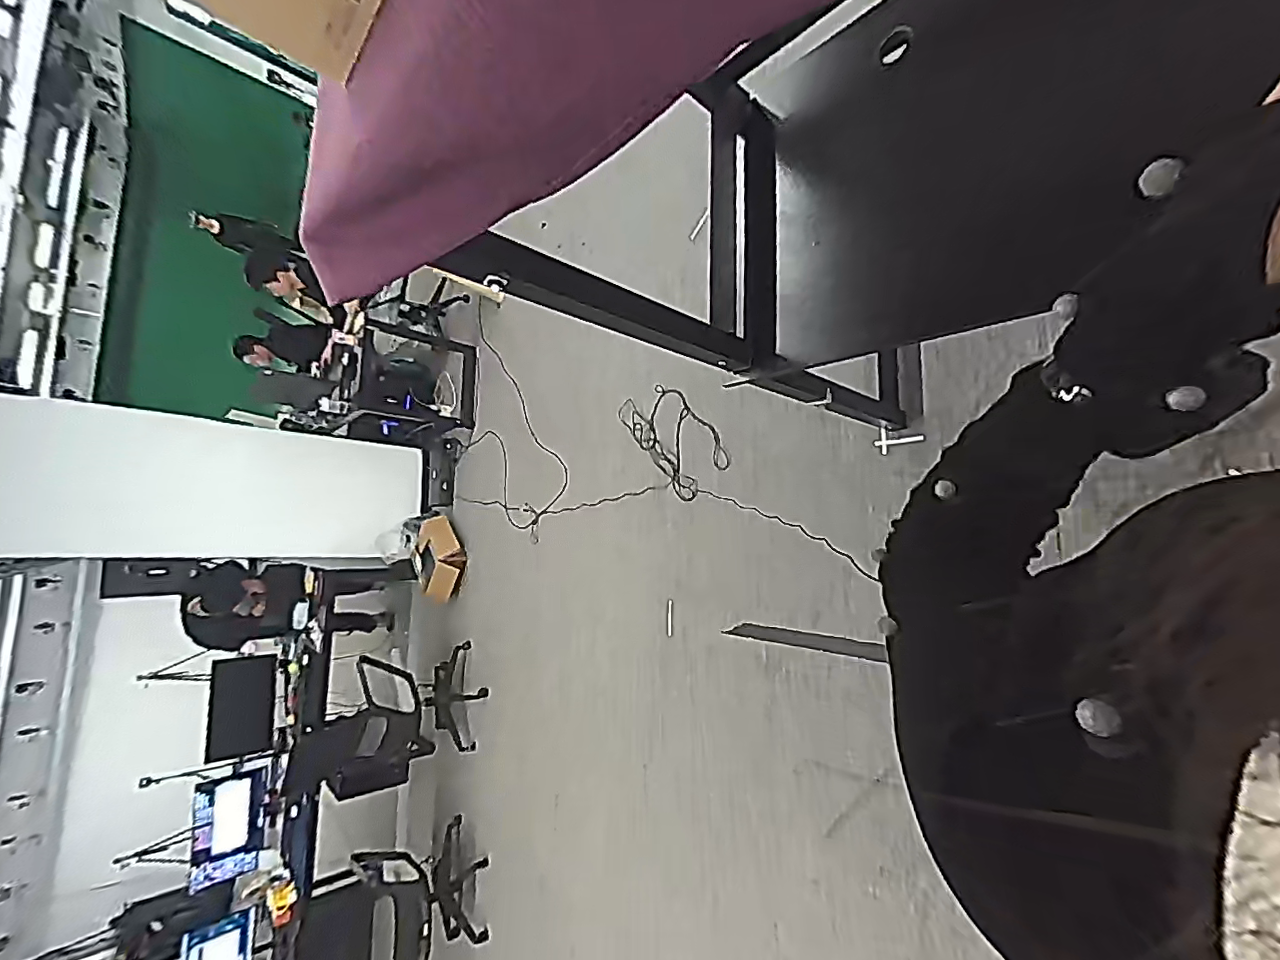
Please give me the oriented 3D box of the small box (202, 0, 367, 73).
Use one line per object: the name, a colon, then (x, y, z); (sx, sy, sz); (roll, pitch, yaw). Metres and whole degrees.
small box: (-0.284, -0.462, 0.392); (0.168, 0.176, 0.179); (-8, 78, 48)
